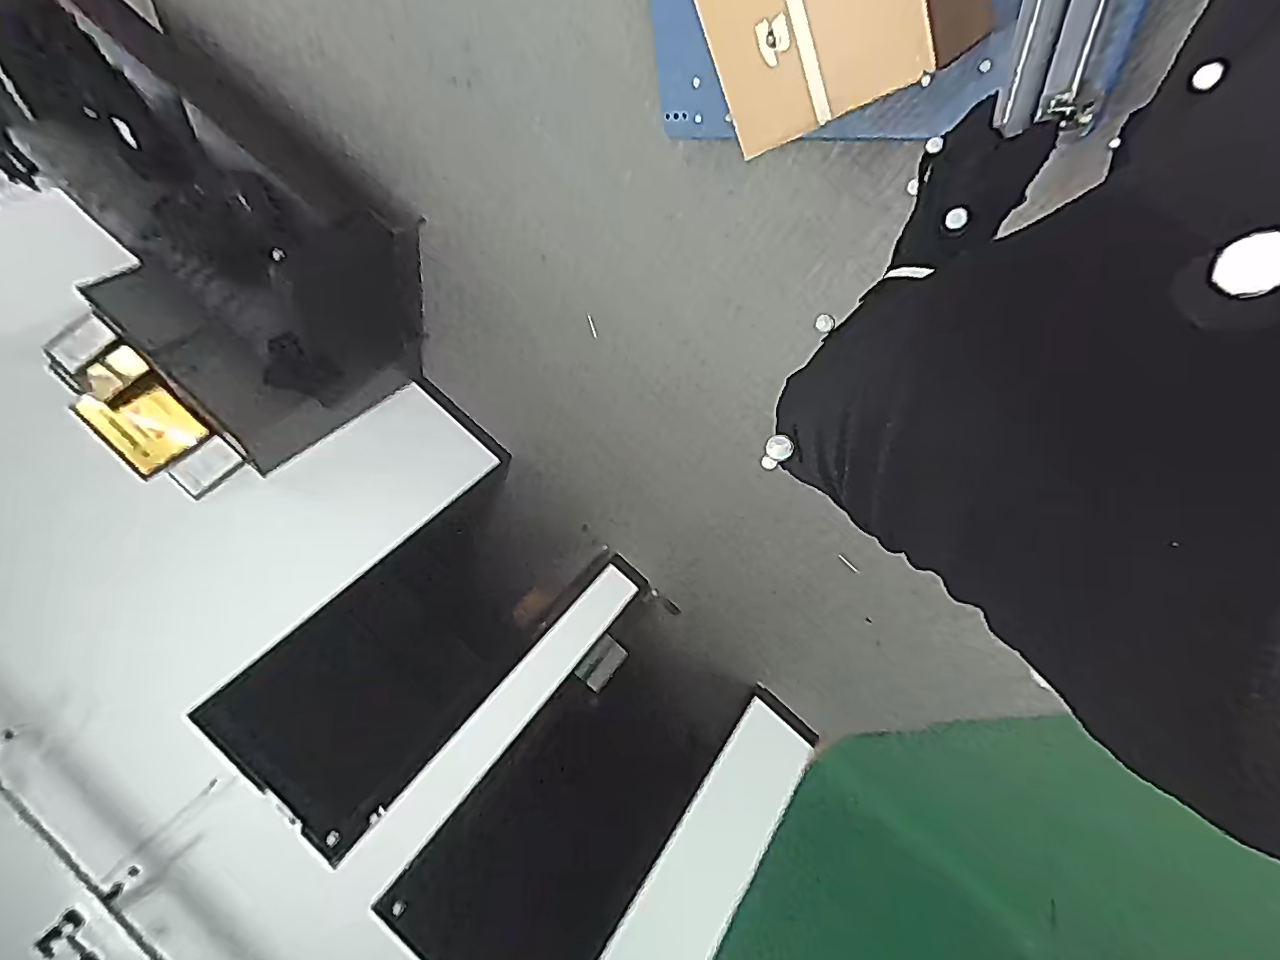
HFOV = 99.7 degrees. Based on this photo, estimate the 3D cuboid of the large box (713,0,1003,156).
[{"bbox_3d":[0.322,-0.810,0.830,0.320,0.320,0.408,3,131,48],"label":"large box"}]
